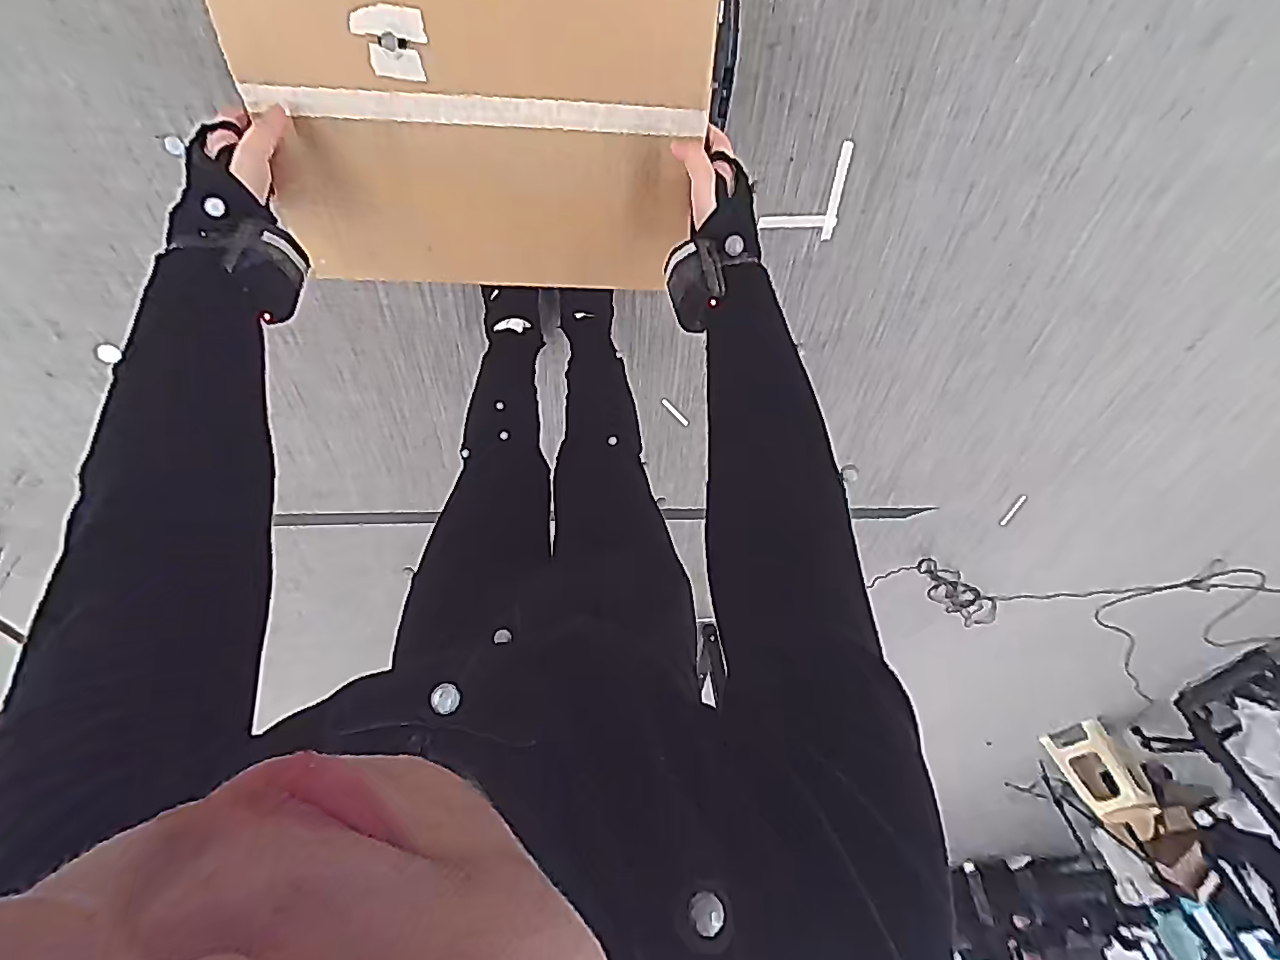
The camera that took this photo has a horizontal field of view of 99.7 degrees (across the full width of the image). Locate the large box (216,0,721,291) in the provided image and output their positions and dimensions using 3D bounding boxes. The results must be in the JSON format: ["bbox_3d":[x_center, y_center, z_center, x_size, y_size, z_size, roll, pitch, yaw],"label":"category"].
[{"bbox_3d":[-0.141,-0.419,0.588,0.408,0.320,0.320,0,130,-4],"label":"large box"}]
